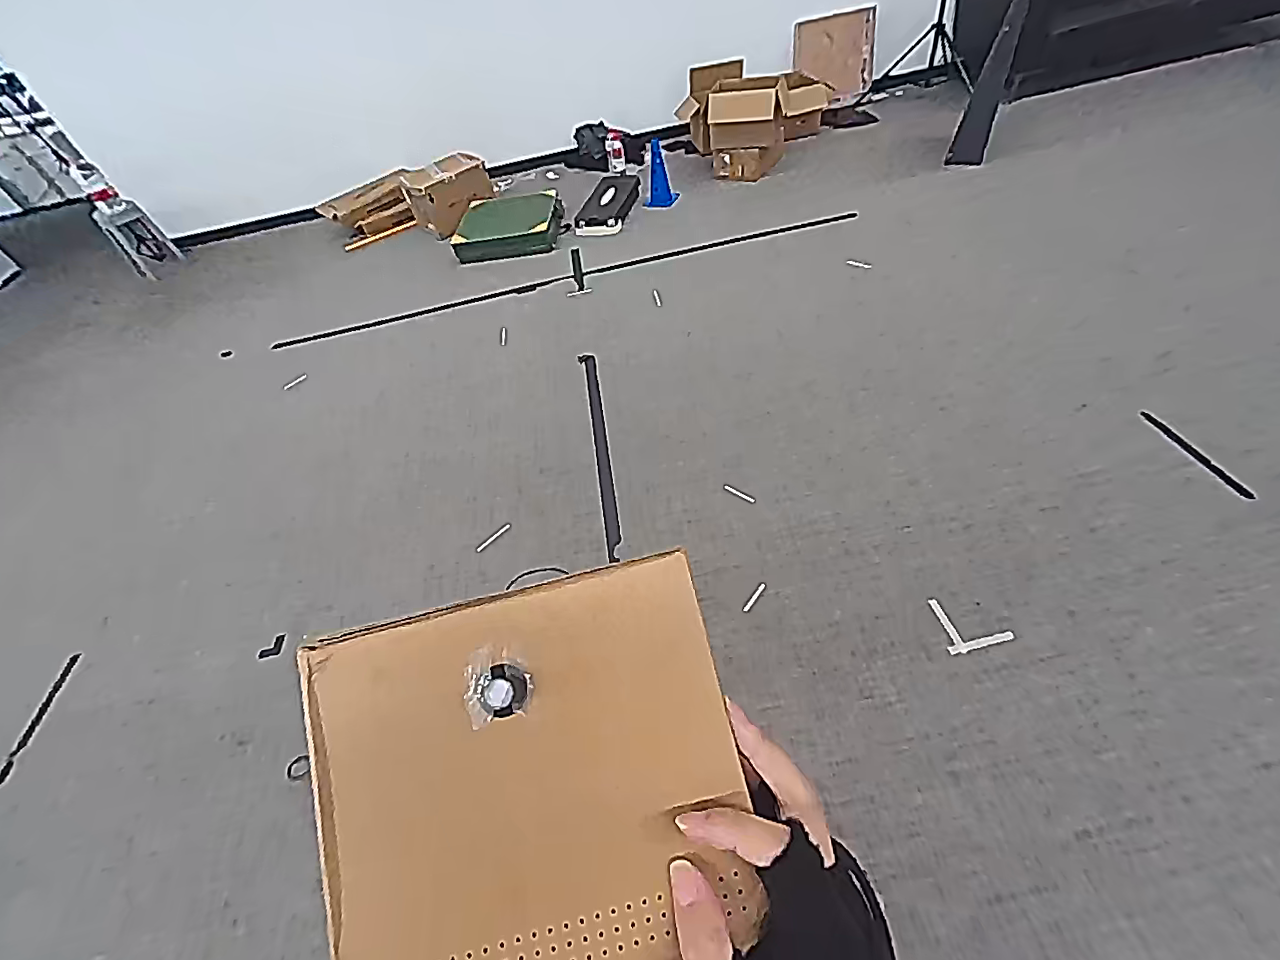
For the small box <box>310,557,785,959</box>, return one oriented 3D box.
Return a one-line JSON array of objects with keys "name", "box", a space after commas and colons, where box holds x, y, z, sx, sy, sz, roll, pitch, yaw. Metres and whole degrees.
[{"name": "small box", "box": [-0.043, 0.151, 0.302, 0.179, 0.168, 0.176, -13, 79, -4]}]
